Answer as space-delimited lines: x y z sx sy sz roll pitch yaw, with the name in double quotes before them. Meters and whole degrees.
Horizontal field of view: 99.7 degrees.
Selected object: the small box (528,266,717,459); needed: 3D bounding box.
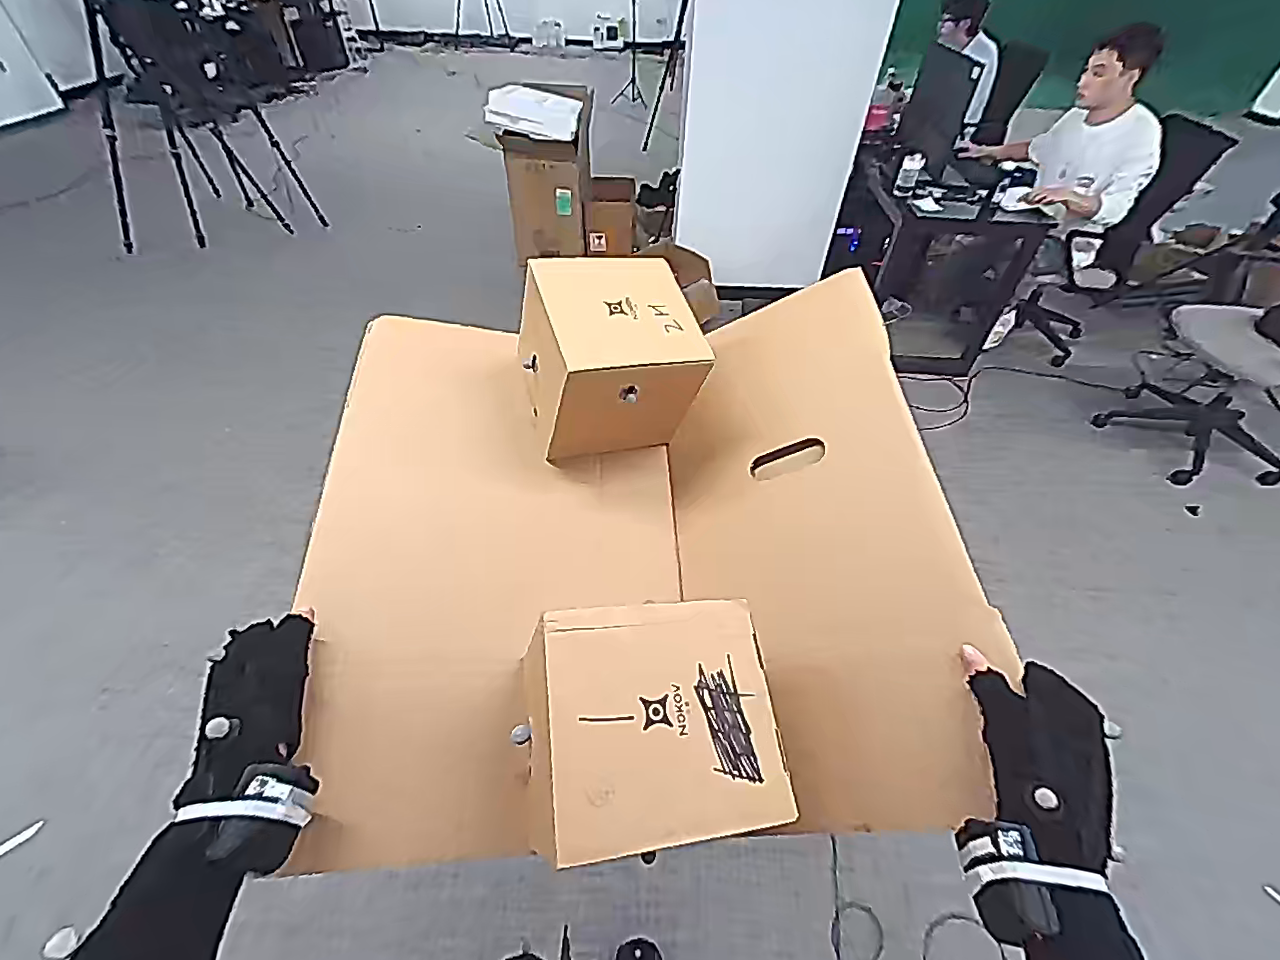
"small box" -0.037 -0.140 0.670 0.179 0.176 0.168 -9 63 -23
